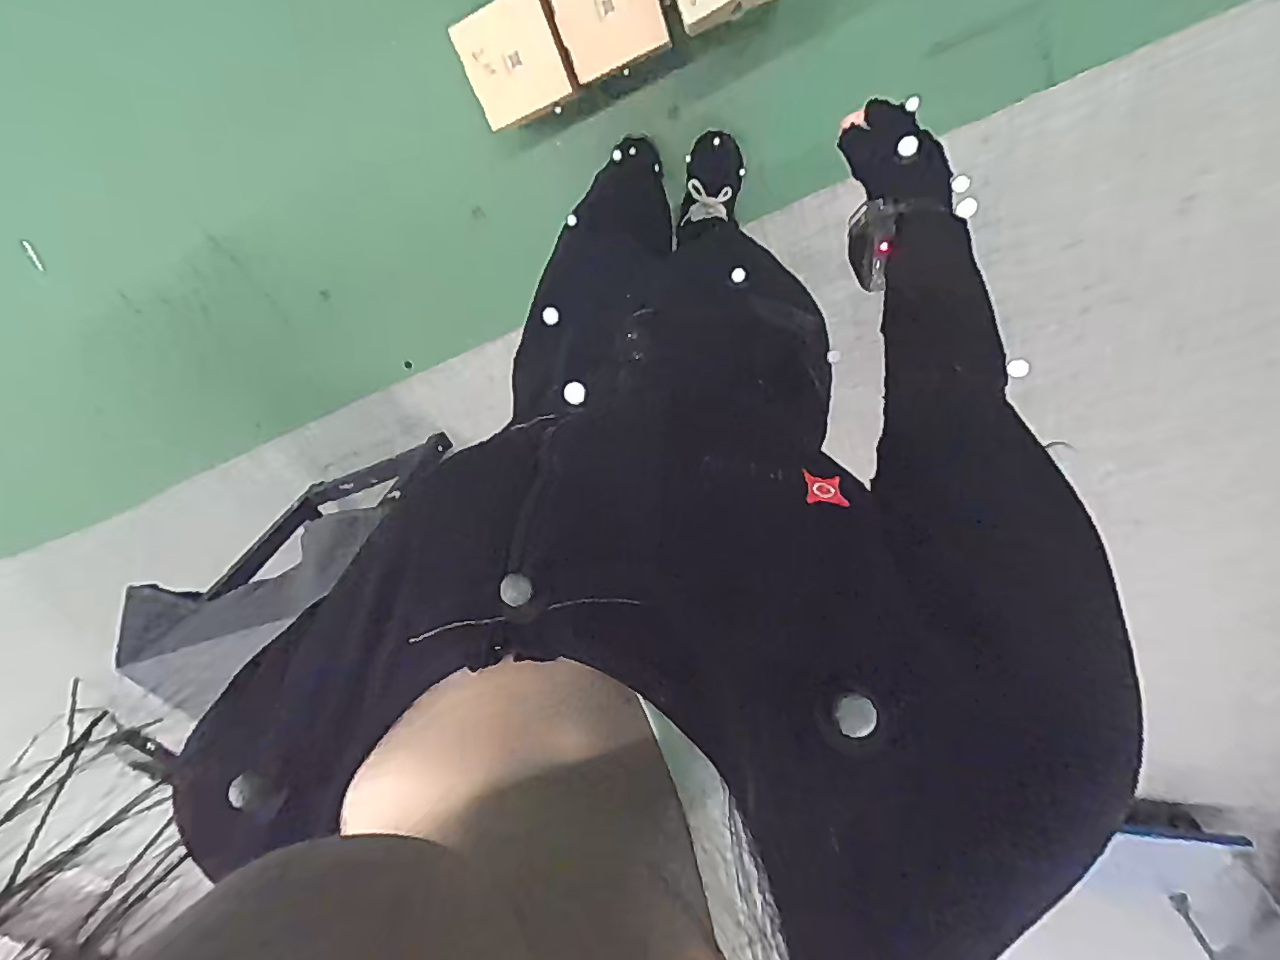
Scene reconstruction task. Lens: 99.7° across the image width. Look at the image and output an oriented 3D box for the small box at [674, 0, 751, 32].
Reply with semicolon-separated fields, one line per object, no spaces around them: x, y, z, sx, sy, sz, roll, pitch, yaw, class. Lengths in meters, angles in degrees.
0.120;-0.803;0.796;0.179;0.176;0.168;-18;122;17;small box
